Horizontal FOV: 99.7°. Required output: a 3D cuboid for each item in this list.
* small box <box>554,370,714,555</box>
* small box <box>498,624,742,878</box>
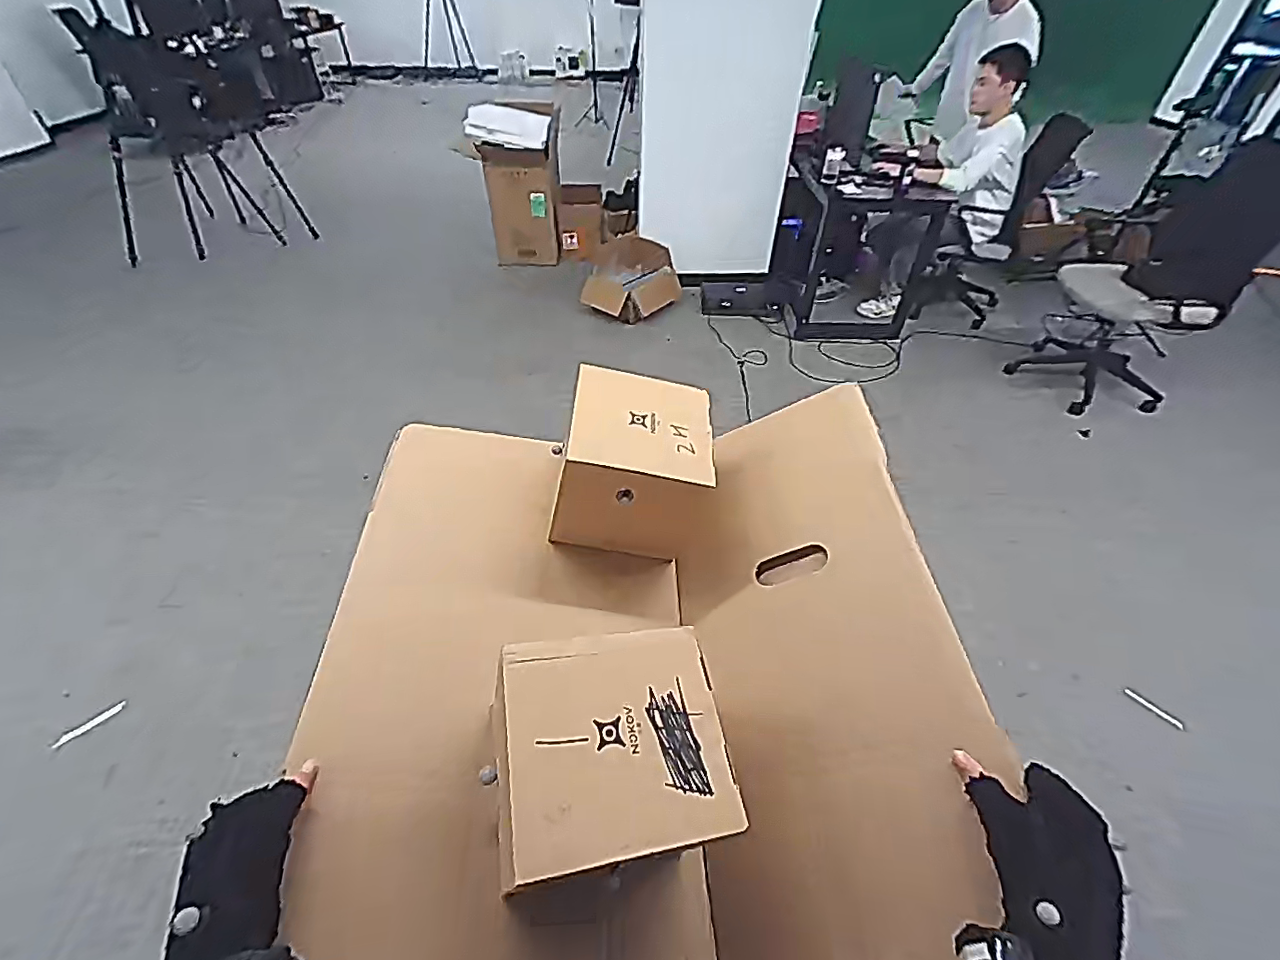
[{"bbox_3d":[-0.013,-0.017,0.725,0.179,0.176,0.168,12,50,-10],"label":"small box"},{"bbox_3d":[-0.035,0.249,0.501,0.179,0.176,0.168,-1,52,-18],"label":"small box"}]
